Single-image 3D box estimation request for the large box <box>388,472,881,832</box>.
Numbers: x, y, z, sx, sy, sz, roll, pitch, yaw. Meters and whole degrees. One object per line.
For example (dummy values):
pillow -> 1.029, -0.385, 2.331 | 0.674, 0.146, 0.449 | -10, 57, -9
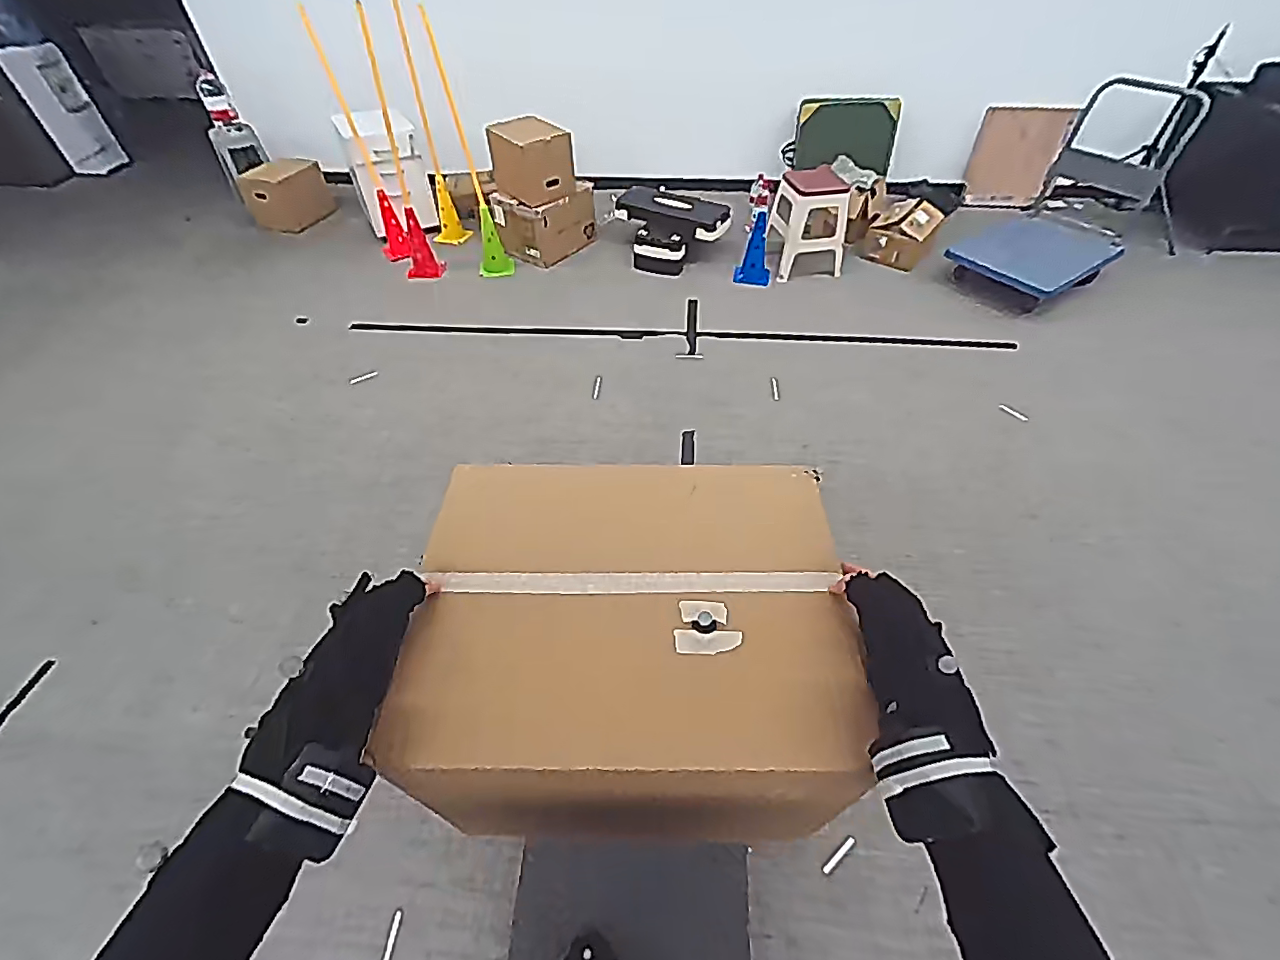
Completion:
large box -> -0.005, 0.205, 0.637 | 0.408, 0.320, 0.320 | 0, 49, 1
